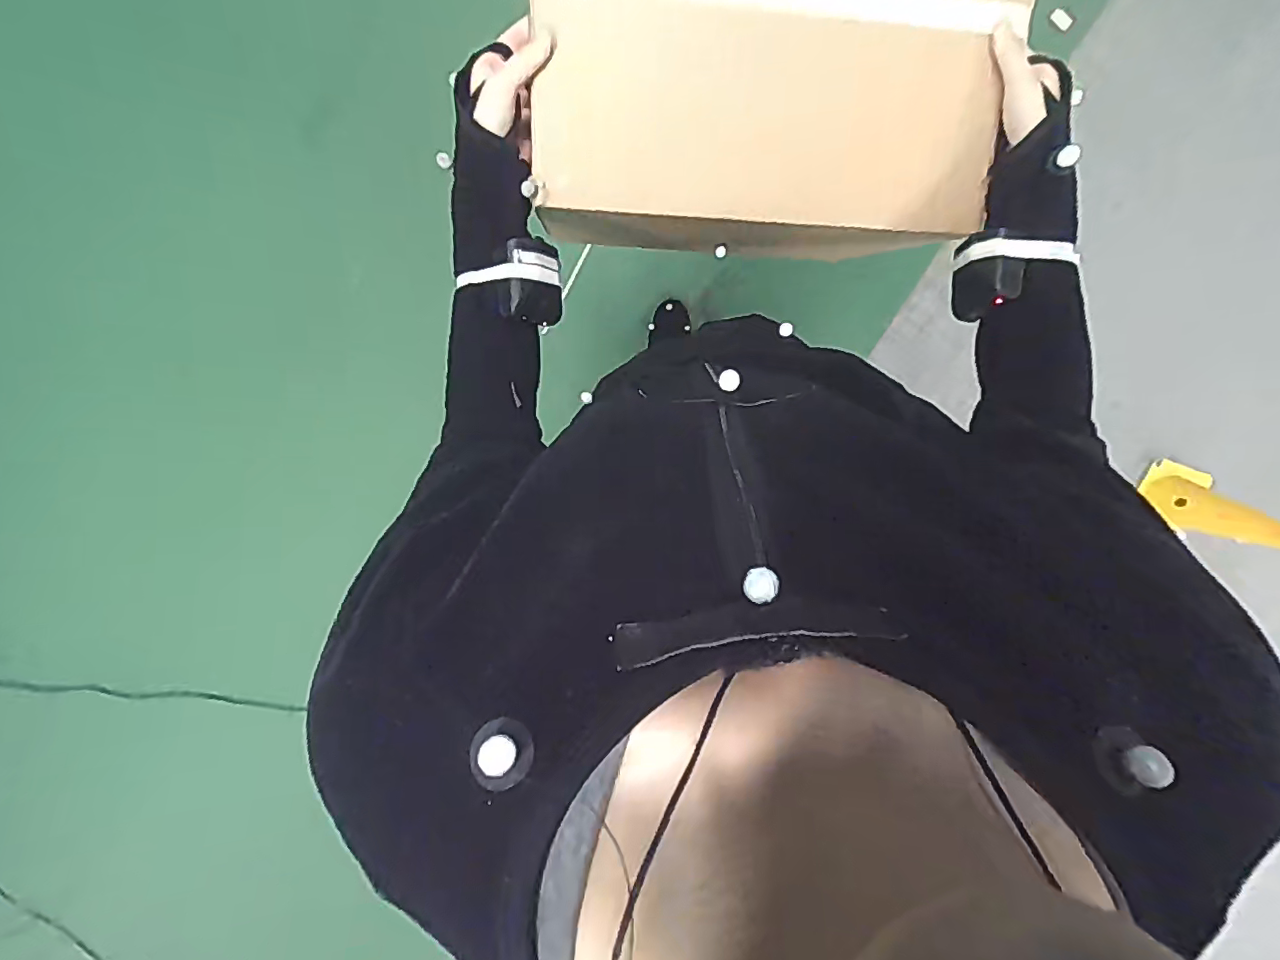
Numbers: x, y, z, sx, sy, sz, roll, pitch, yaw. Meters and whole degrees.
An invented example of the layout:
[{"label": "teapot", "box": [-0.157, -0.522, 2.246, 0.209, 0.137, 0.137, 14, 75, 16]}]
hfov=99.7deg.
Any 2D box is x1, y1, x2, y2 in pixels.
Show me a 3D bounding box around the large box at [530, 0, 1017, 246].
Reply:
[{"label": "large box", "box": [0.102, -0.431, 0.575, 0.408, 0.320, 0.320, 1, 108, -6]}]
